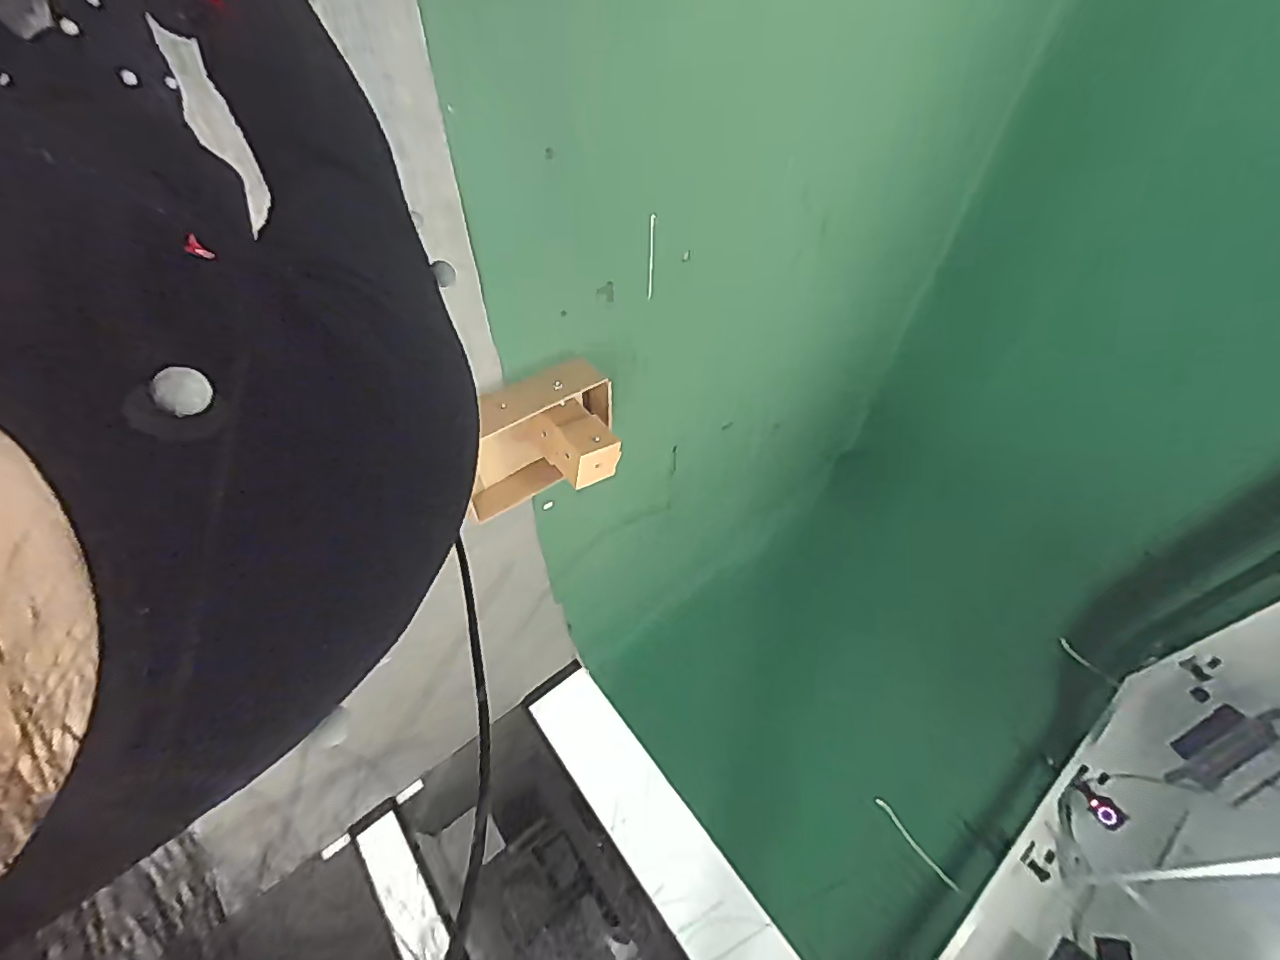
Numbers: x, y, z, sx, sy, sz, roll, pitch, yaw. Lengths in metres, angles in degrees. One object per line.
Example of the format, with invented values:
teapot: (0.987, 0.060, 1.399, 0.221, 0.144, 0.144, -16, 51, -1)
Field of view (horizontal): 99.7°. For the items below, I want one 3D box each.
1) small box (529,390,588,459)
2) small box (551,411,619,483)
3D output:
small box: (-0.299, -0.212, 2.028, 0.168, 0.176, 0.179, -20, 143, -37)
small box: (-0.202, -0.122, 1.933, 0.179, 0.176, 0.168, -24, 146, -33)
